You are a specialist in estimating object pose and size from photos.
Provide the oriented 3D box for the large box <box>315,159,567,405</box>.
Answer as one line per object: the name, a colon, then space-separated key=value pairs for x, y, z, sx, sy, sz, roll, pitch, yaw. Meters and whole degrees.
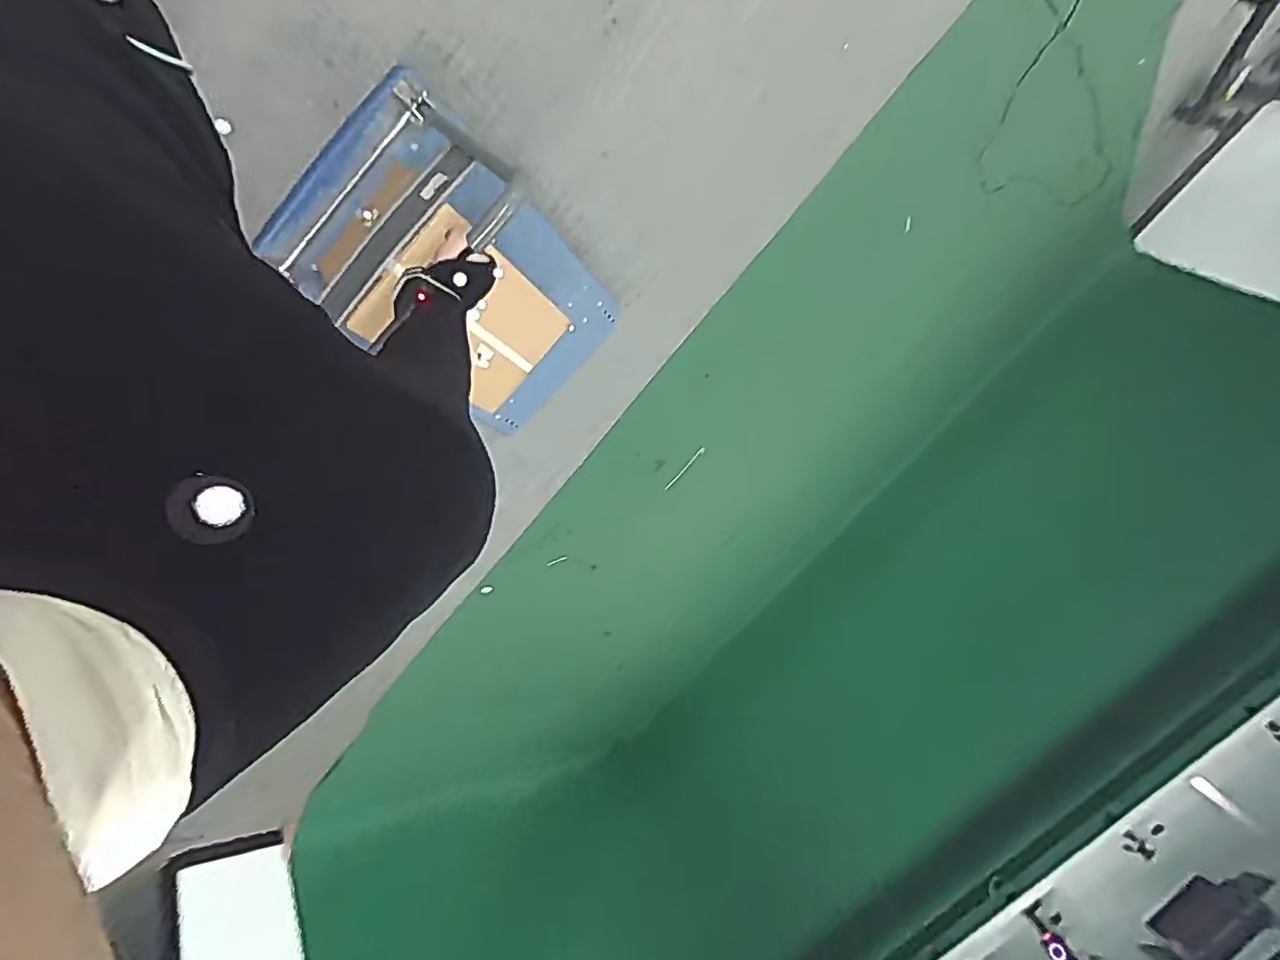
large box: x=-0.460 y=-0.449 z=1.274 sx=0.320 sy=0.320 sz=0.408 roll=-46 pitch=145 yaw=8
